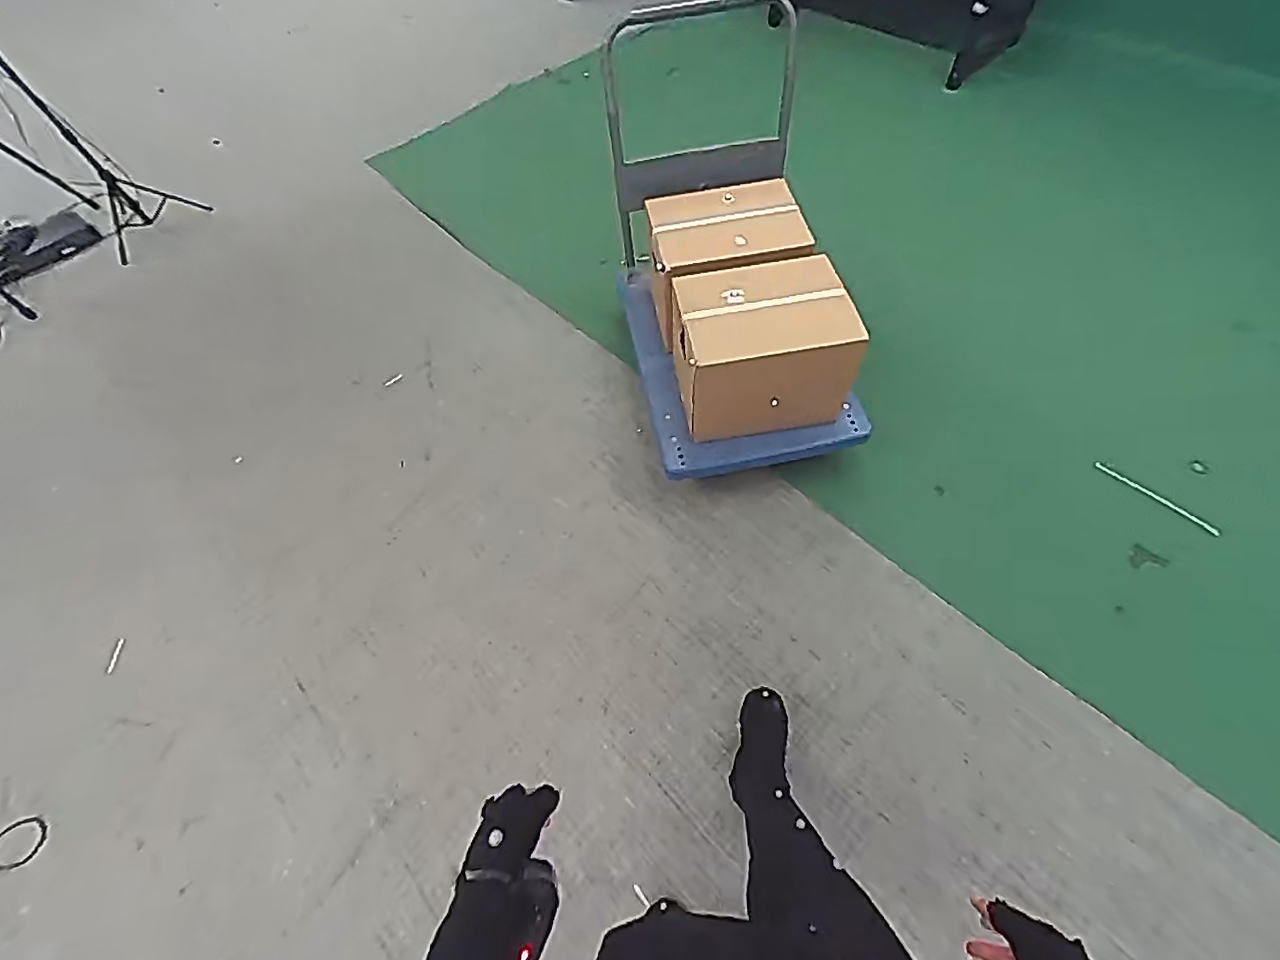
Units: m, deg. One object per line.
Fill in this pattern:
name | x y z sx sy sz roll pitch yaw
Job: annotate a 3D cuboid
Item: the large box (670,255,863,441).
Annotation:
large box | 0.305 -0.337 1.426 0.408 0.320 0.320 -9 59 0
